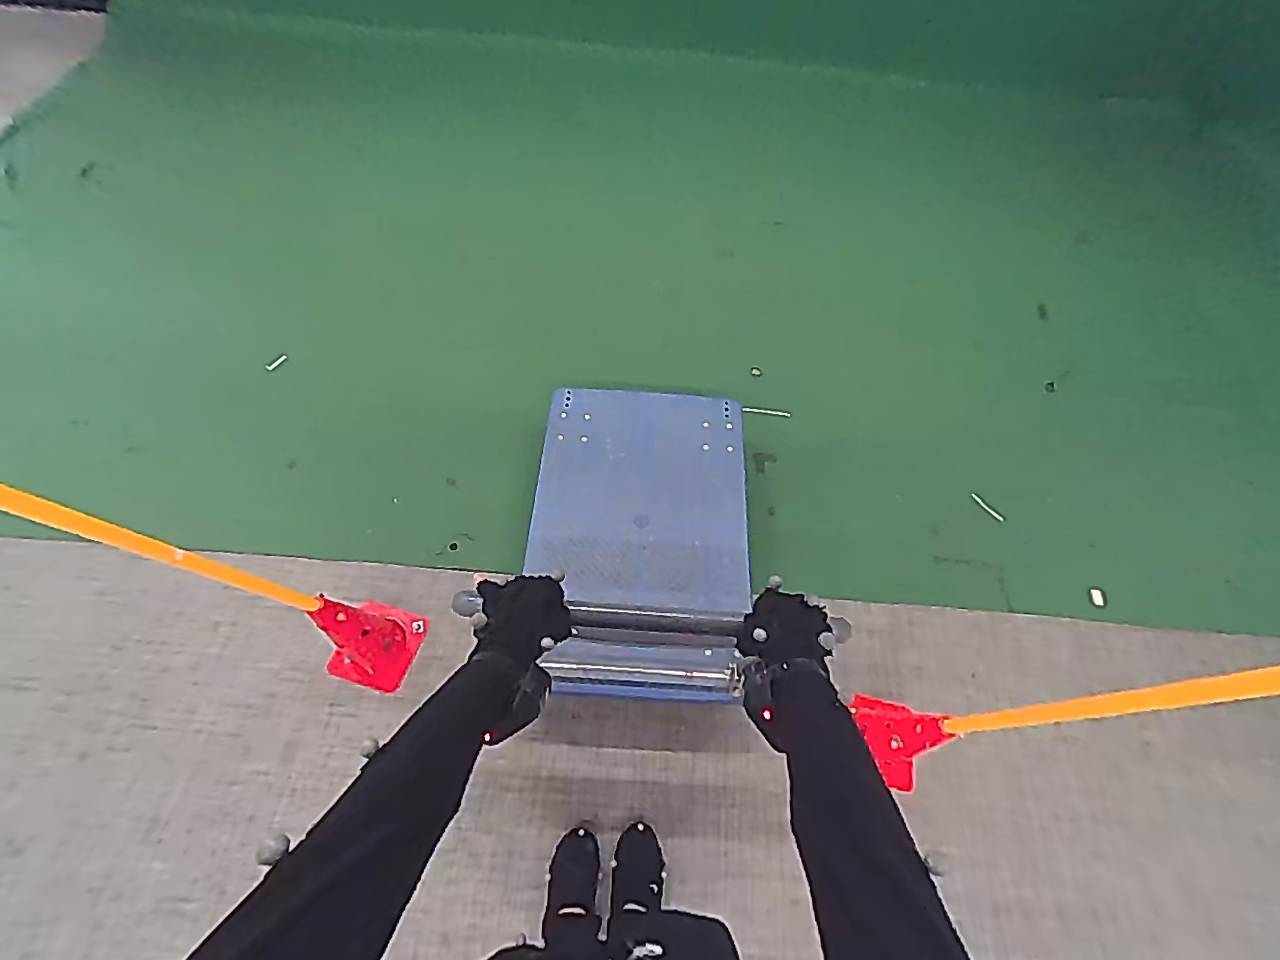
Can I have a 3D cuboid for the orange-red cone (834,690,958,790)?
[{"bbox_3d":[0.598,0.562,1.206,0.198,0.360,0.199,14,61,6],"label":"orange-red cone"}]
